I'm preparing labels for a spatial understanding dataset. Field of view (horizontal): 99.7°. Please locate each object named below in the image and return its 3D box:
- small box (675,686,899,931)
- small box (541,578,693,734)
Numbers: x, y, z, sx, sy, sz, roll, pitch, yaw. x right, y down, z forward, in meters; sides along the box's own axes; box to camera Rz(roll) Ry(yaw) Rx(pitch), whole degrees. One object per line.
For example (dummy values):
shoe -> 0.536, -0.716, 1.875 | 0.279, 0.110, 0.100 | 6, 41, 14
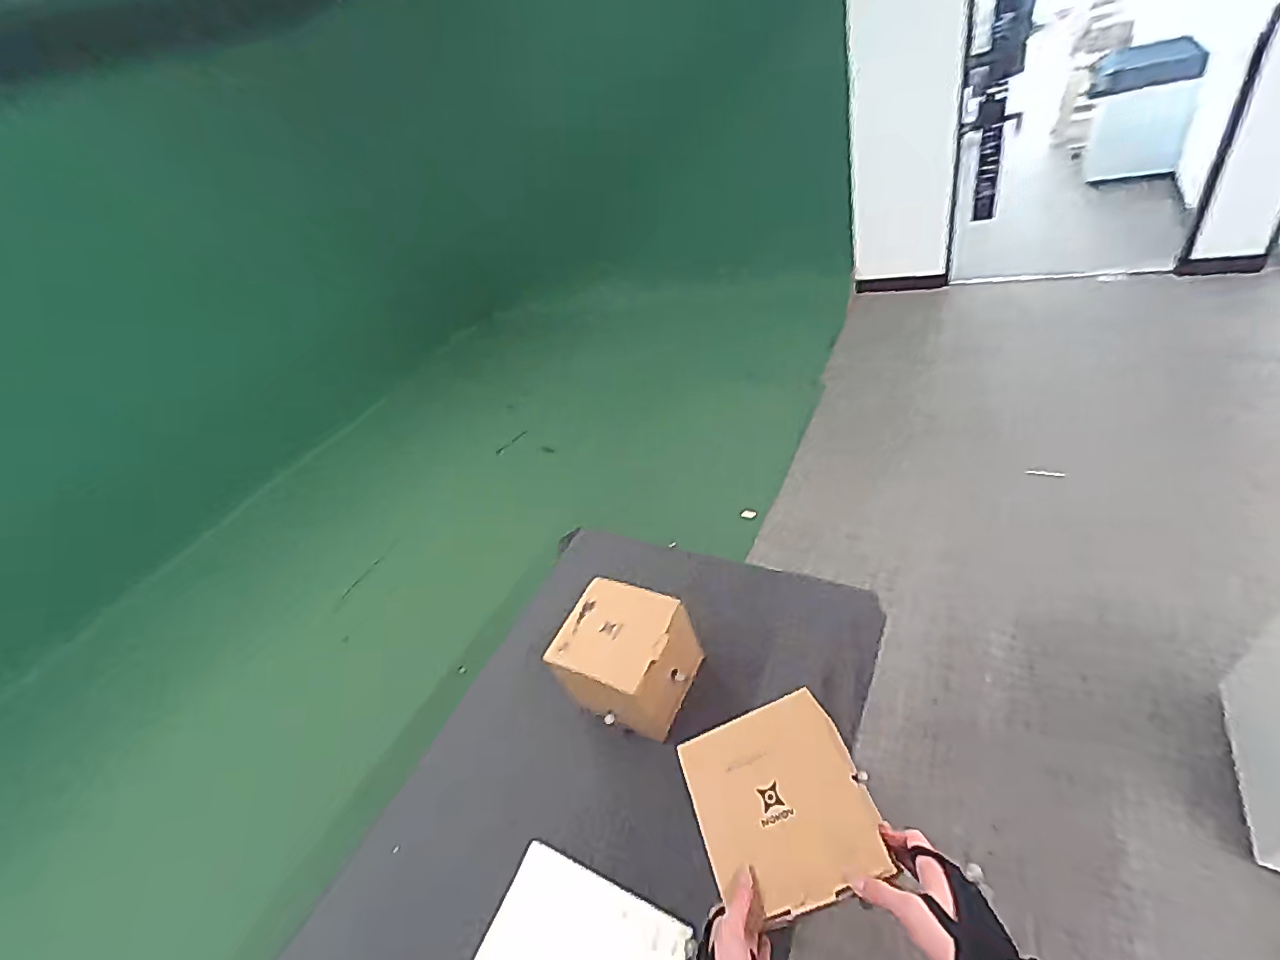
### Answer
small box -> 0.164, 0.363, 0.601 | 0.168, 0.176, 0.179 | -28, 45, 8
small box -> -0.027, 0.298, 0.907 | 0.179, 0.176, 0.168 | 11, 49, 30
